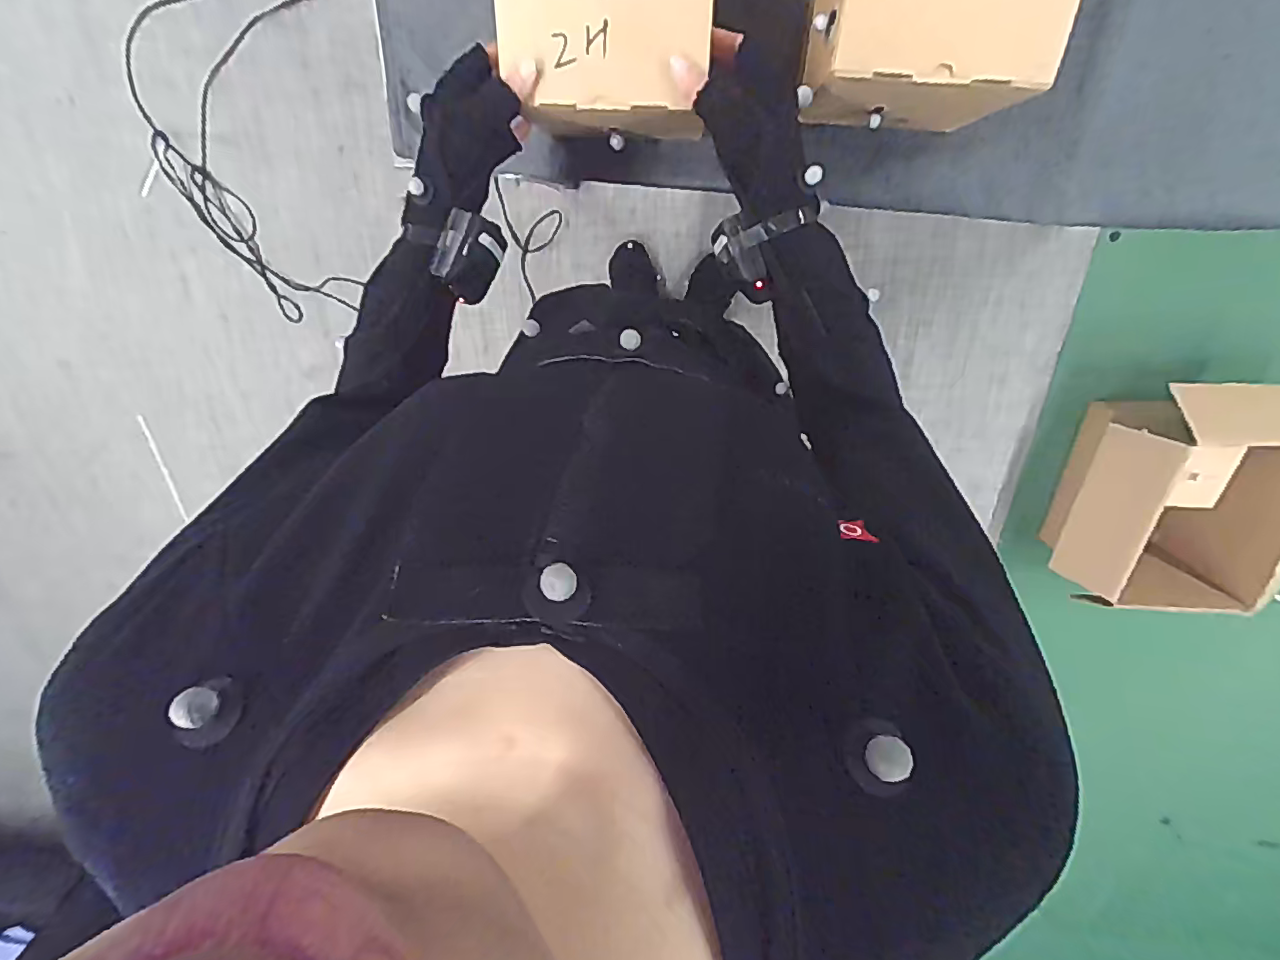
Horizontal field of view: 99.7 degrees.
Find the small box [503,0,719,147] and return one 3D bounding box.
[{"bbox_3d":[-0.017,-0.408,0.474,0.168,0.176,0.179,4,115,4],"label":"small box"}]
